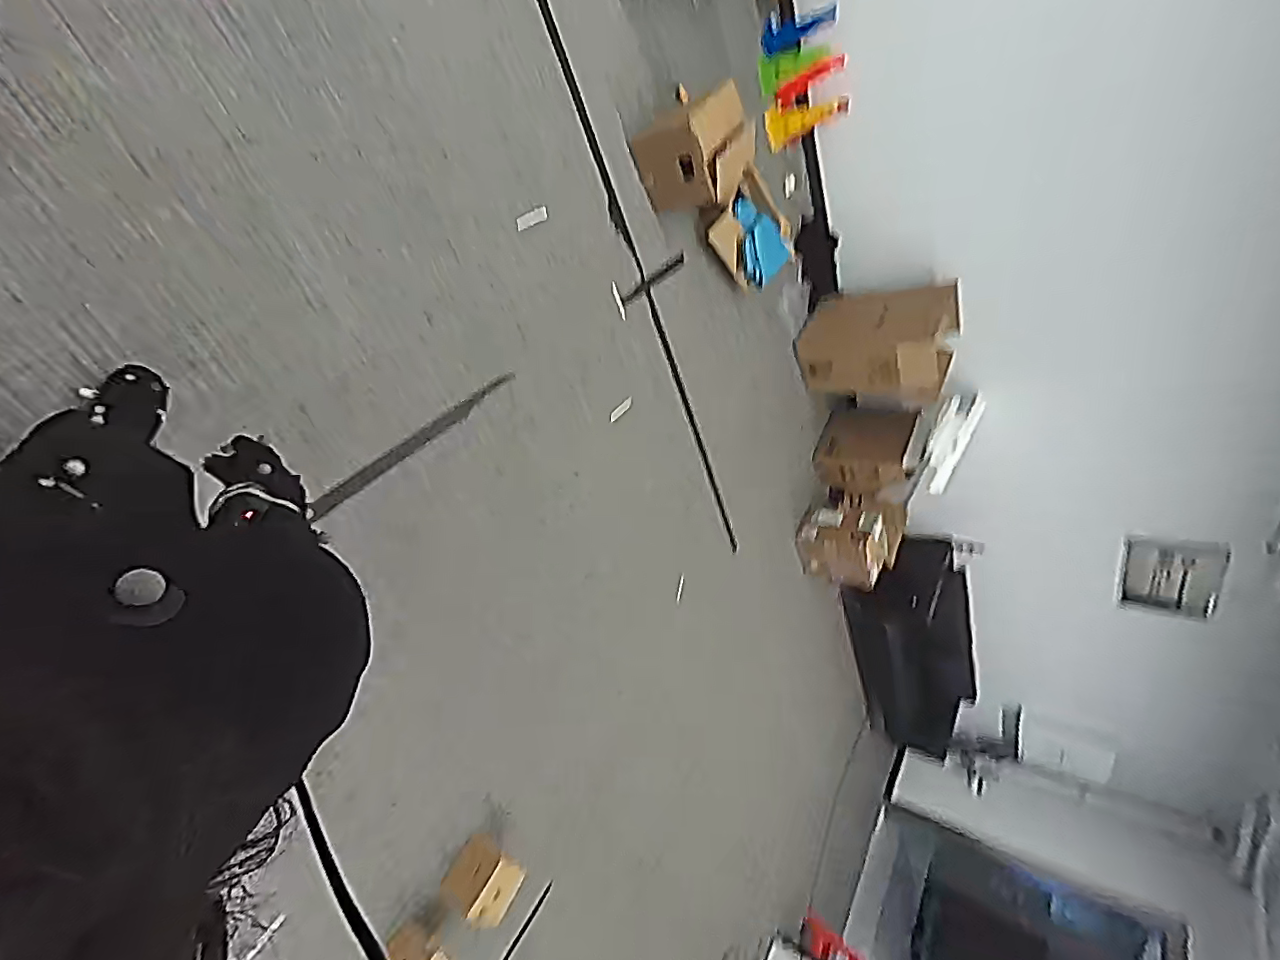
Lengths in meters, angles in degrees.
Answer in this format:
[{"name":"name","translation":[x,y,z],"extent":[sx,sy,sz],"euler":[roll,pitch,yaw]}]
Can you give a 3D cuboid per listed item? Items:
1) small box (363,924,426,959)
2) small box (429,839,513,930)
[{"name":"small box","translation":[-0.748,1.523,1.643],"extent":[0.179,0.176,0.168],"euler":[-37,123,-43]},{"name":"small box","translation":[-0.575,1.367,1.837],"extent":[0.179,0.176,0.168],"euler":[-55,133,-32]}]
